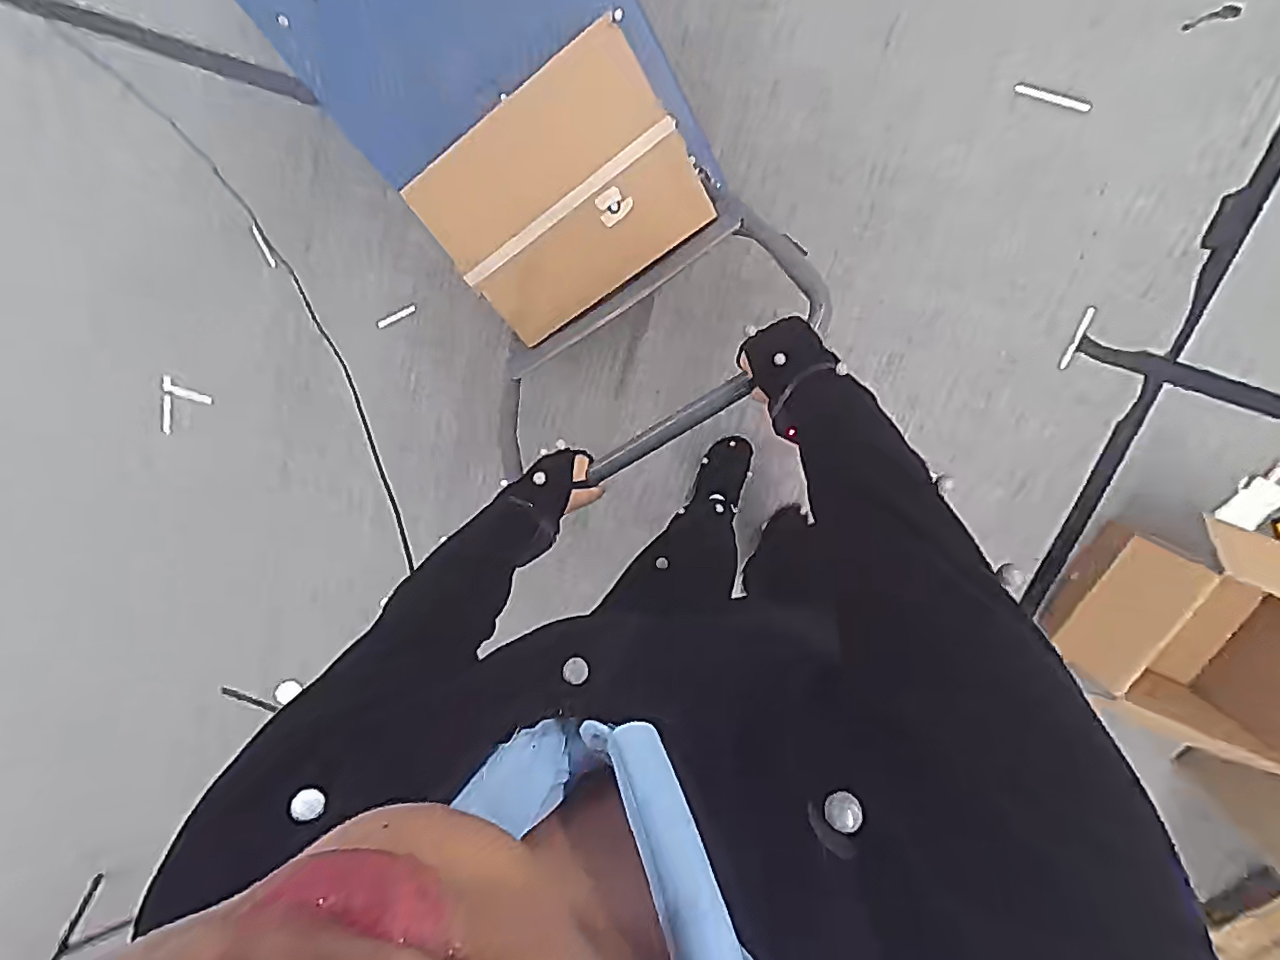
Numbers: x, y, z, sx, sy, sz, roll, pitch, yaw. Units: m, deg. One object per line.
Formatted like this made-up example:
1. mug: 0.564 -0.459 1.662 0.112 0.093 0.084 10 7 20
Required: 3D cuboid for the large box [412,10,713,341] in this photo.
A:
1. large box: -0.136 -0.539 1.003 0.408 0.320 0.320 -32 123 14
